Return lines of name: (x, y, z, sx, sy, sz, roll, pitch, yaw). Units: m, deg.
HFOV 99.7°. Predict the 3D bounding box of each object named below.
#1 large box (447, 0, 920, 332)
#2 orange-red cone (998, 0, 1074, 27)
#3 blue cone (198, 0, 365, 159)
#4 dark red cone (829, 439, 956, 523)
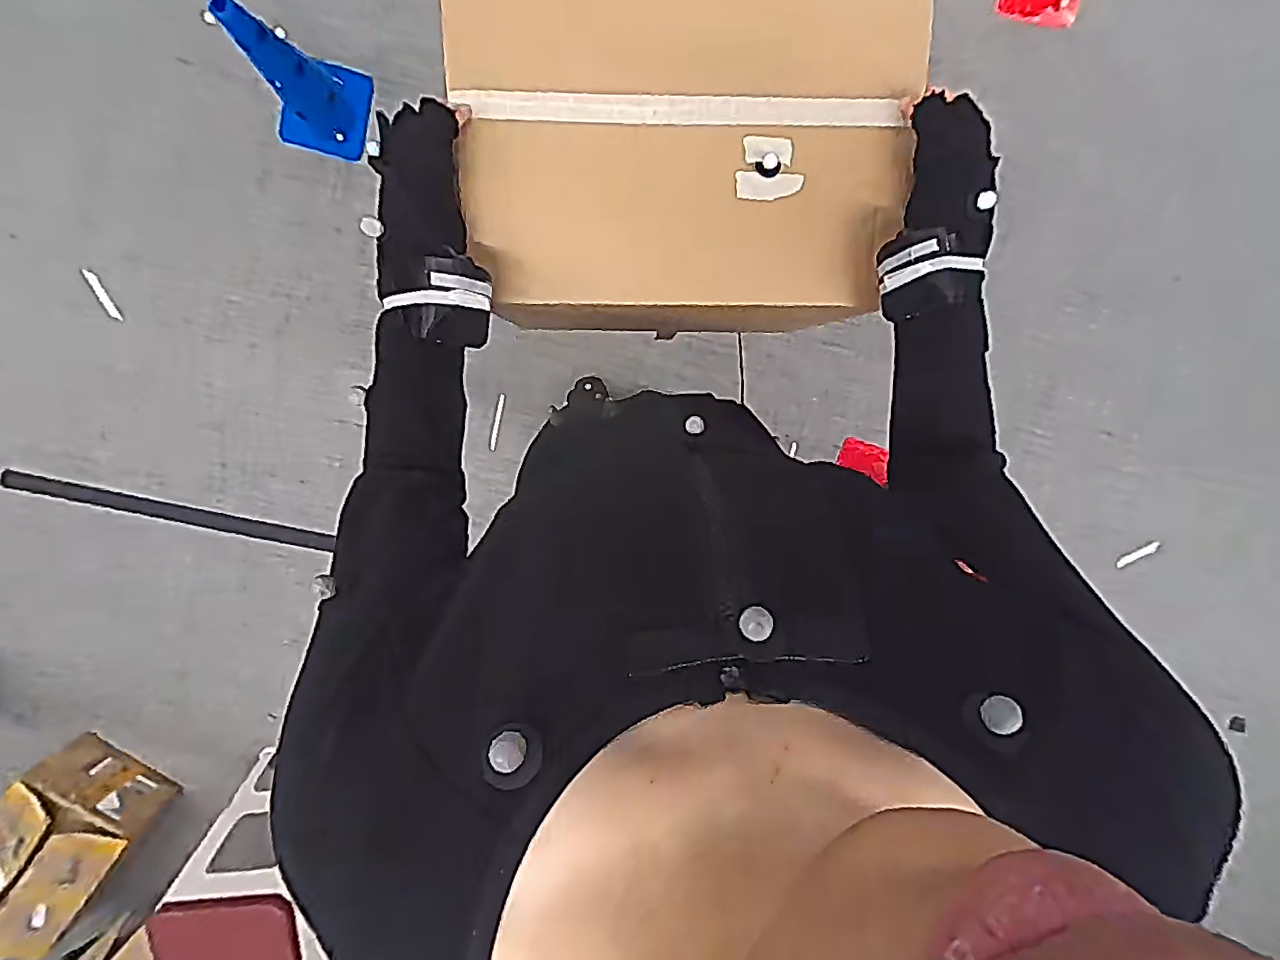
large box: (0.031, -0.343, 0.611, 0.408, 0.320, 0.320, 0, 101, -4)
orange-red cone: (0.992, -1.208, 1.150, 0.198, 0.360, 0.199, 10, 97, -5)
blue cone: (-0.764, -0.866, 1.145, 0.192, 0.380, 0.193, 16, 98, -4)
dark red cone: (0.635, 0.032, 1.310, 0.201, 0.394, 0.202, 18, 98, -4)
